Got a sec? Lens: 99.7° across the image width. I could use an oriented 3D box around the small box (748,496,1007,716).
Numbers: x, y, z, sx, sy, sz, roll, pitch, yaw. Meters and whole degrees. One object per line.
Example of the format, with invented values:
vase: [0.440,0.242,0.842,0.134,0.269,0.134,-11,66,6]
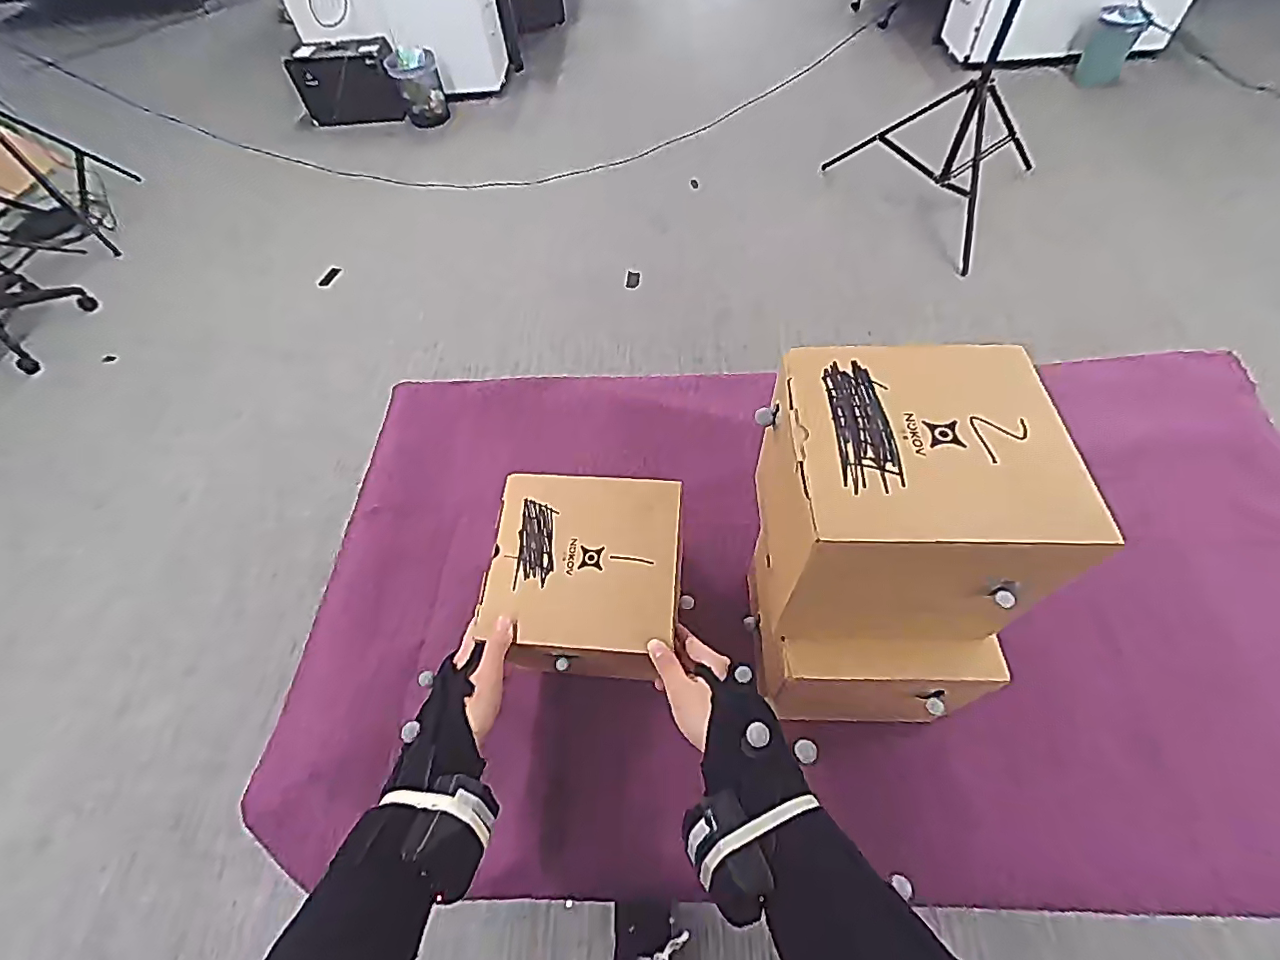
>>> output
small box: [0.210,0.130,0.539,0.179,0.176,0.168,0,55,3]
